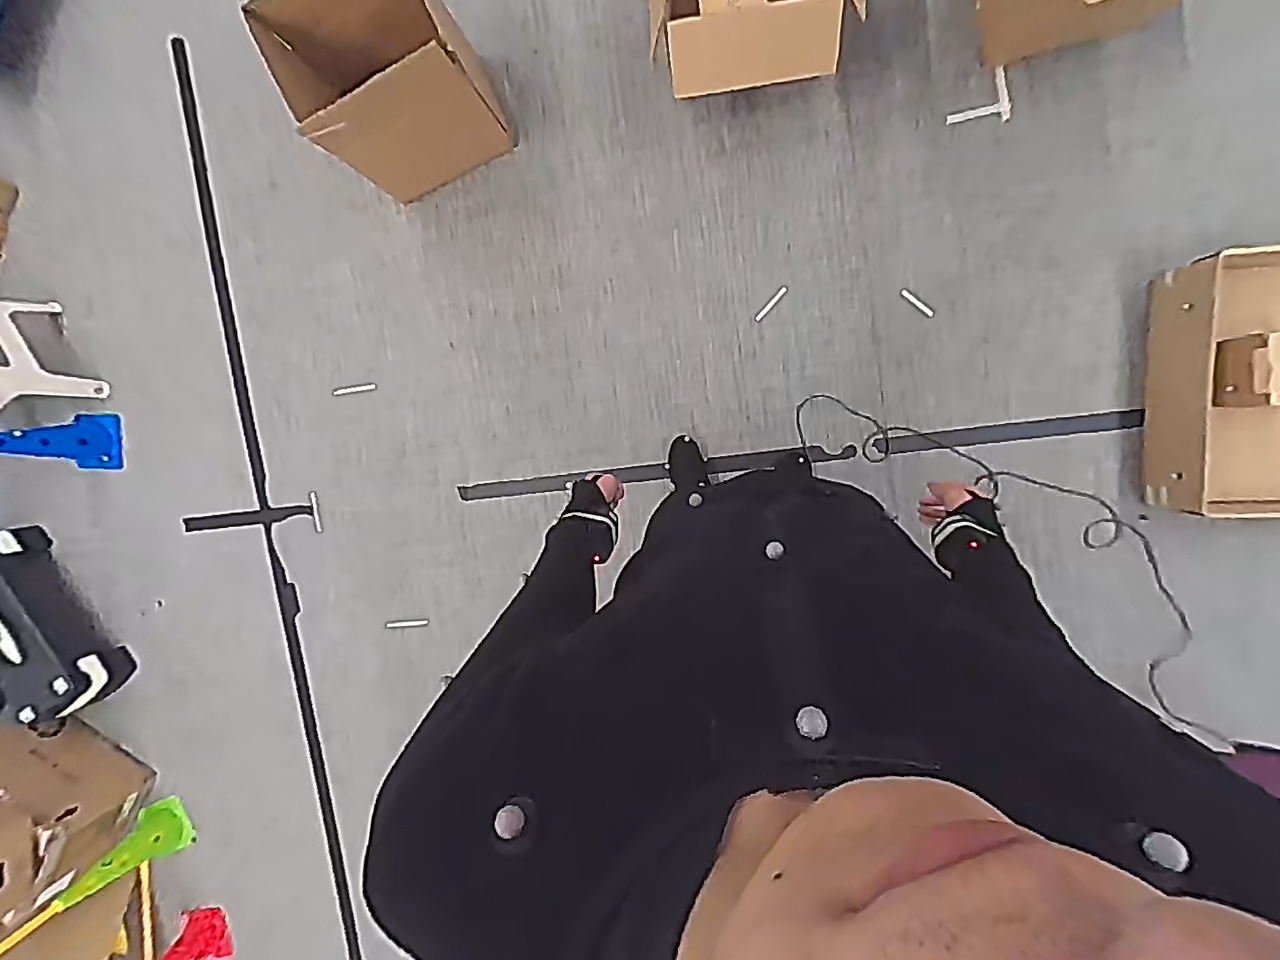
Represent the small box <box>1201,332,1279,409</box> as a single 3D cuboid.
[{"bbox_3d":[1.491,-0.260,1.281,0.179,0.176,0.168,-7,95,9],"label":"small box"}]
